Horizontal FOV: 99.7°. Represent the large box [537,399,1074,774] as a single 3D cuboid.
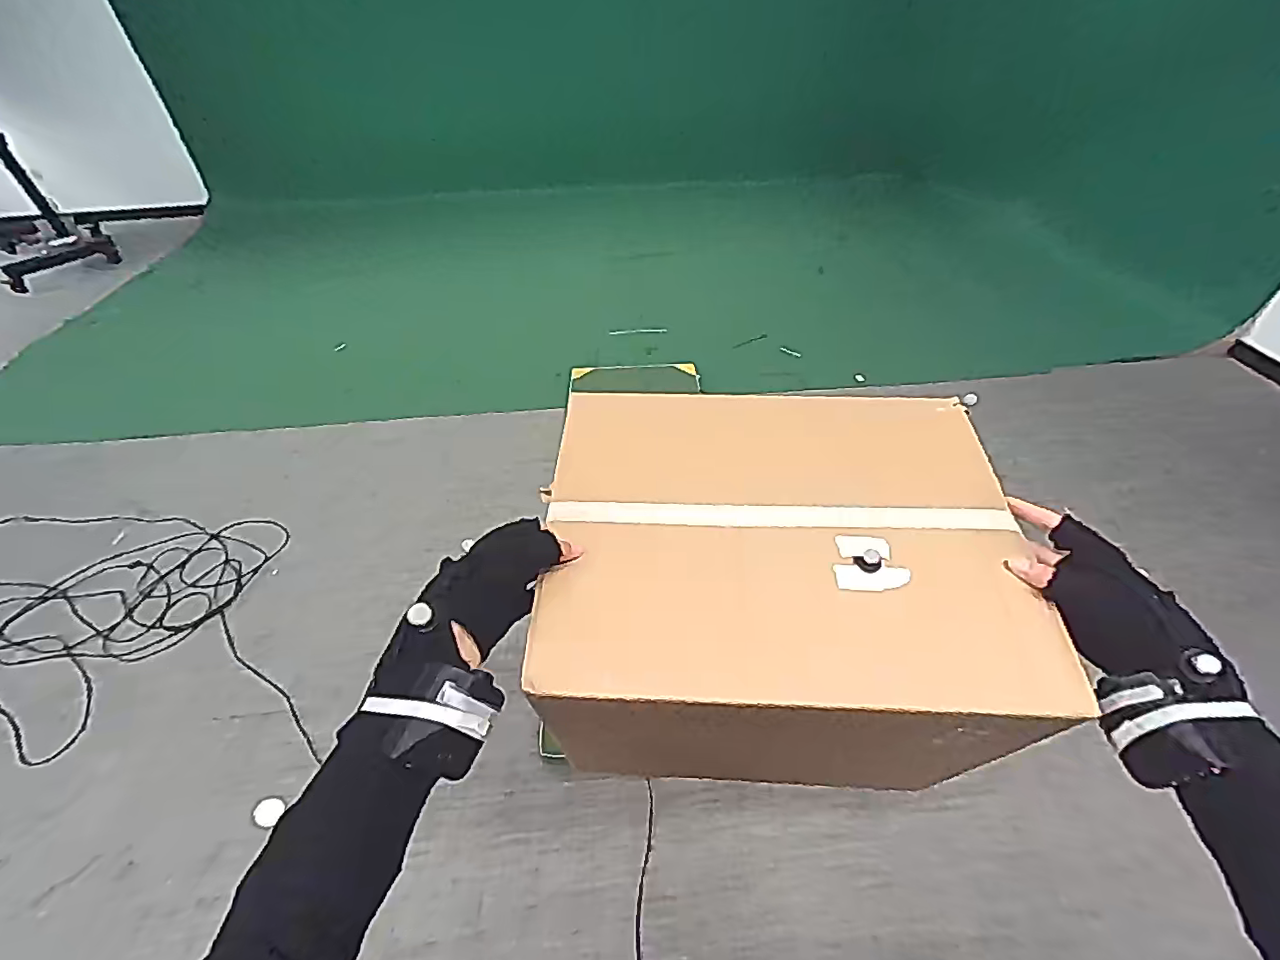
[{"bbox_3d":[0.123,0.126,0.603,0.408,0.320,0.320,1,53,2],"label":"large box"}]
